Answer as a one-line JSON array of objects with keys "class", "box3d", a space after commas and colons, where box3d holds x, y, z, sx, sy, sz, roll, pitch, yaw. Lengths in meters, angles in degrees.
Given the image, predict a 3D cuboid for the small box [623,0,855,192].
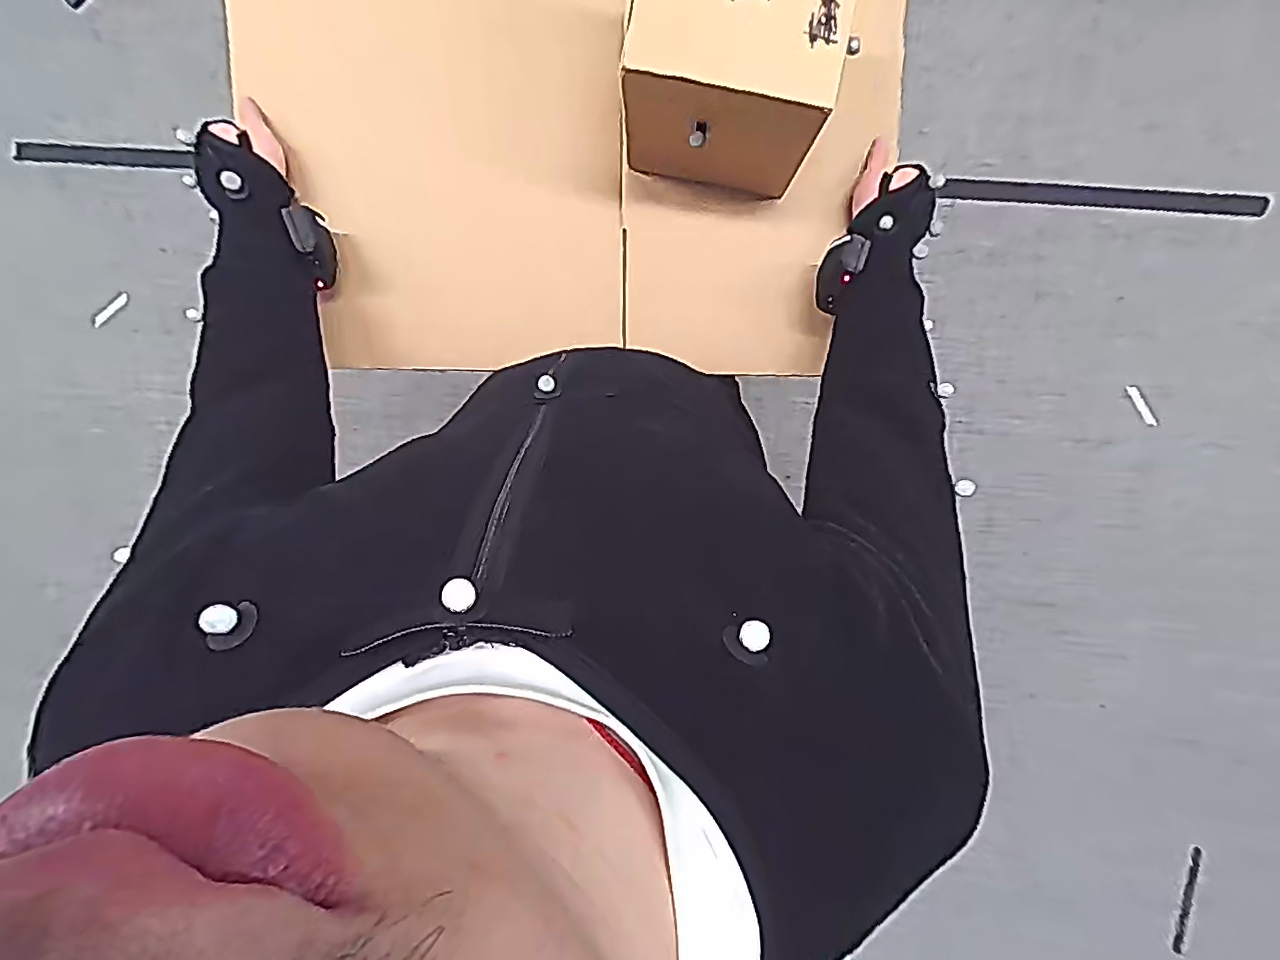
[{"class": "small box", "box3d": [0.089, -0.401, 0.512, 0.179, 0.176, 0.168, 11, 95, 1]}]
